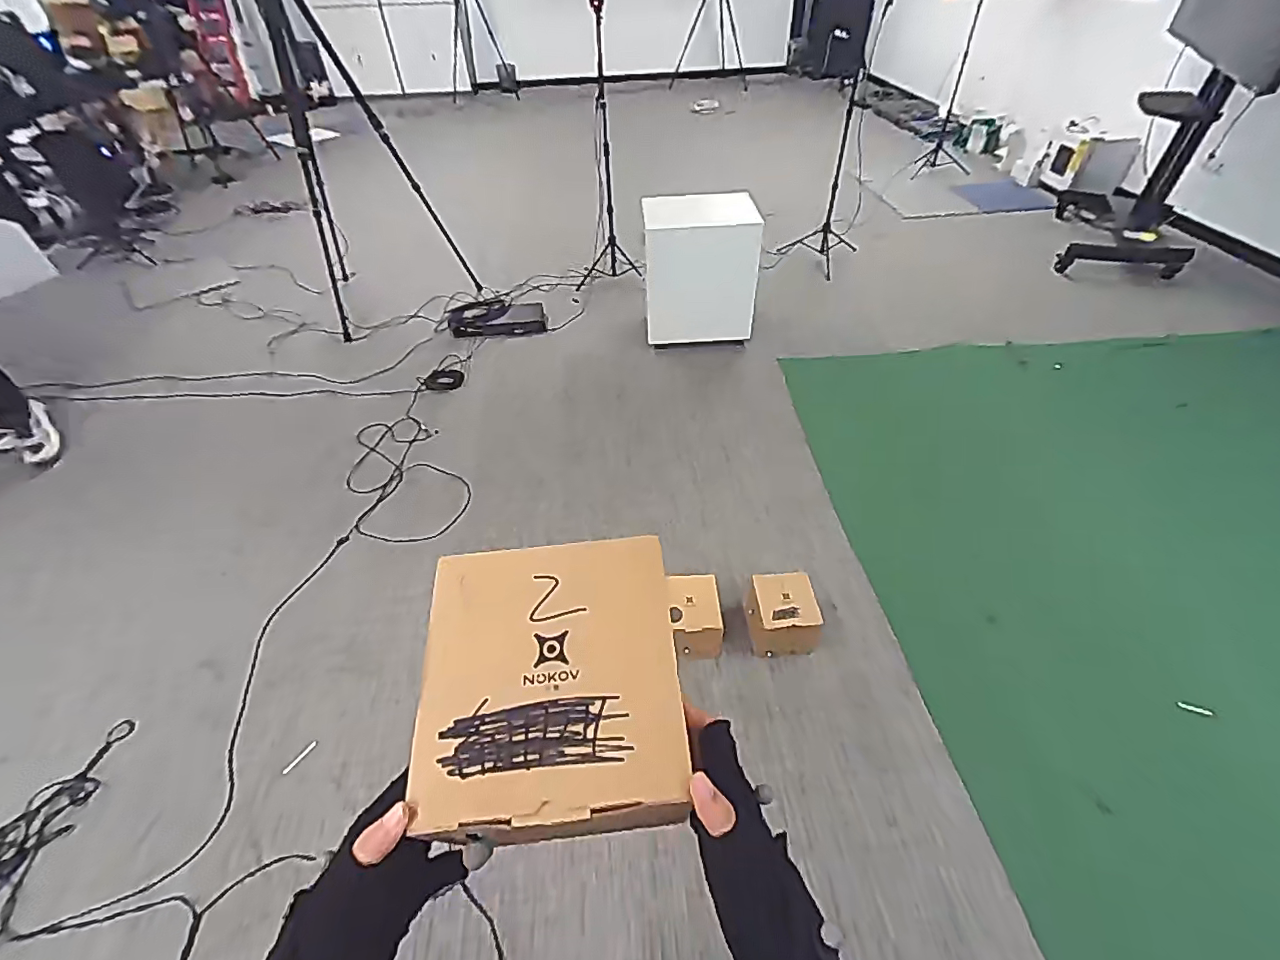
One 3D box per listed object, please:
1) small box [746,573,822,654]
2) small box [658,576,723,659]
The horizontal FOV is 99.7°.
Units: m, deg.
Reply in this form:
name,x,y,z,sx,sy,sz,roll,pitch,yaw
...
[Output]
name,x,y,z,sx,sy,sz,roll,pitch,yaw
small box,0.410,0.393,1.570,0.168,0.176,0.179,-3,45,-1
small box,0.141,0.399,1.573,0.168,0.176,0.179,-2,46,-1
